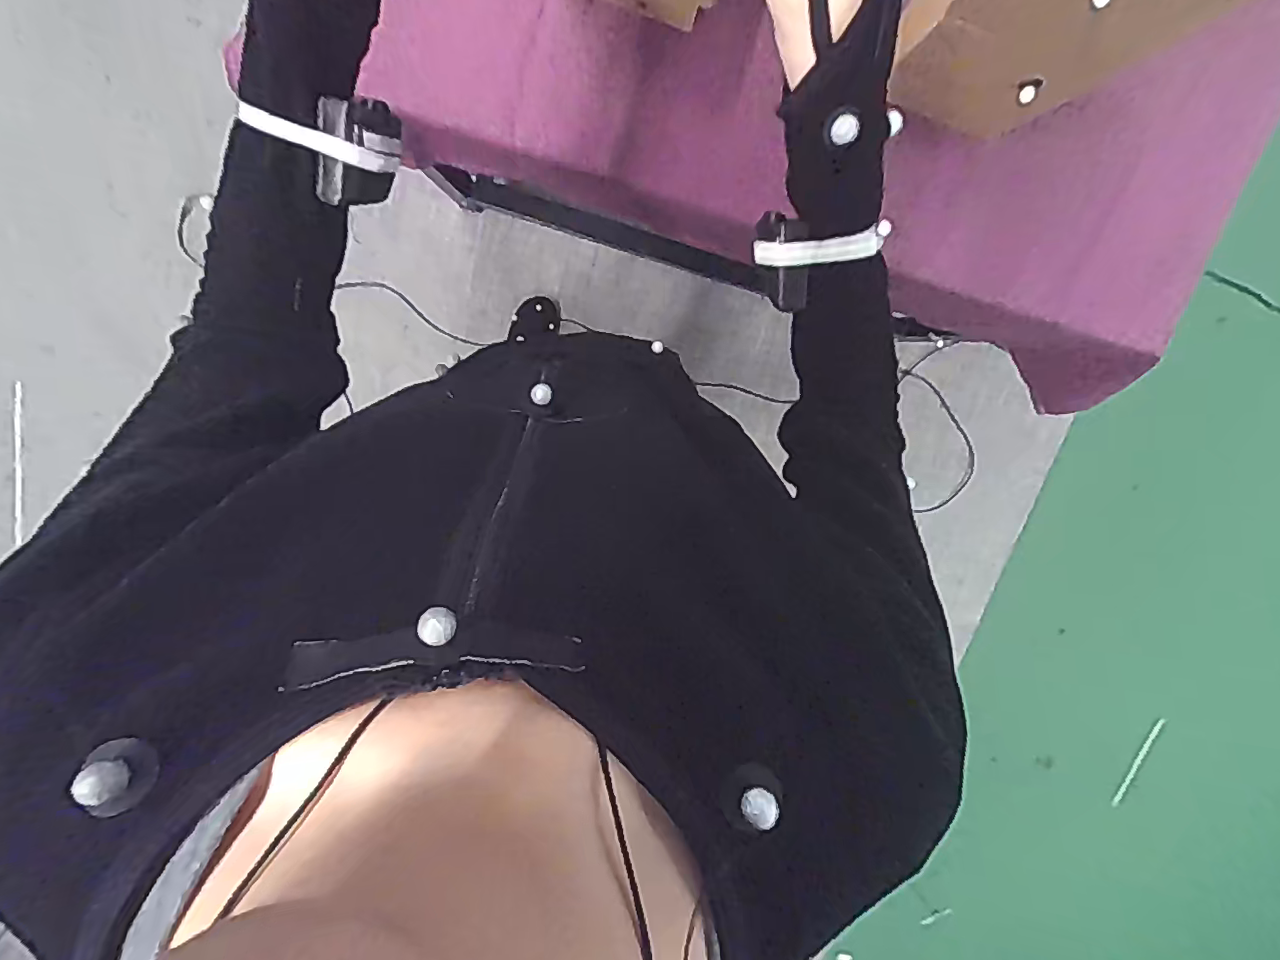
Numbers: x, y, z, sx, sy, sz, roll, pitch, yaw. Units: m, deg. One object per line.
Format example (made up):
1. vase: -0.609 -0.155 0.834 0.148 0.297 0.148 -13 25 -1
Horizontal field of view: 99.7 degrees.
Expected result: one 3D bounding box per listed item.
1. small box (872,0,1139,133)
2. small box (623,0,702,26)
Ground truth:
1. small box: 0.388 -0.505 0.576 0.179 0.176 0.168 16 103 -7
2. small box: 0.011 -0.605 0.530 0.168 0.176 0.179 15 102 -7
